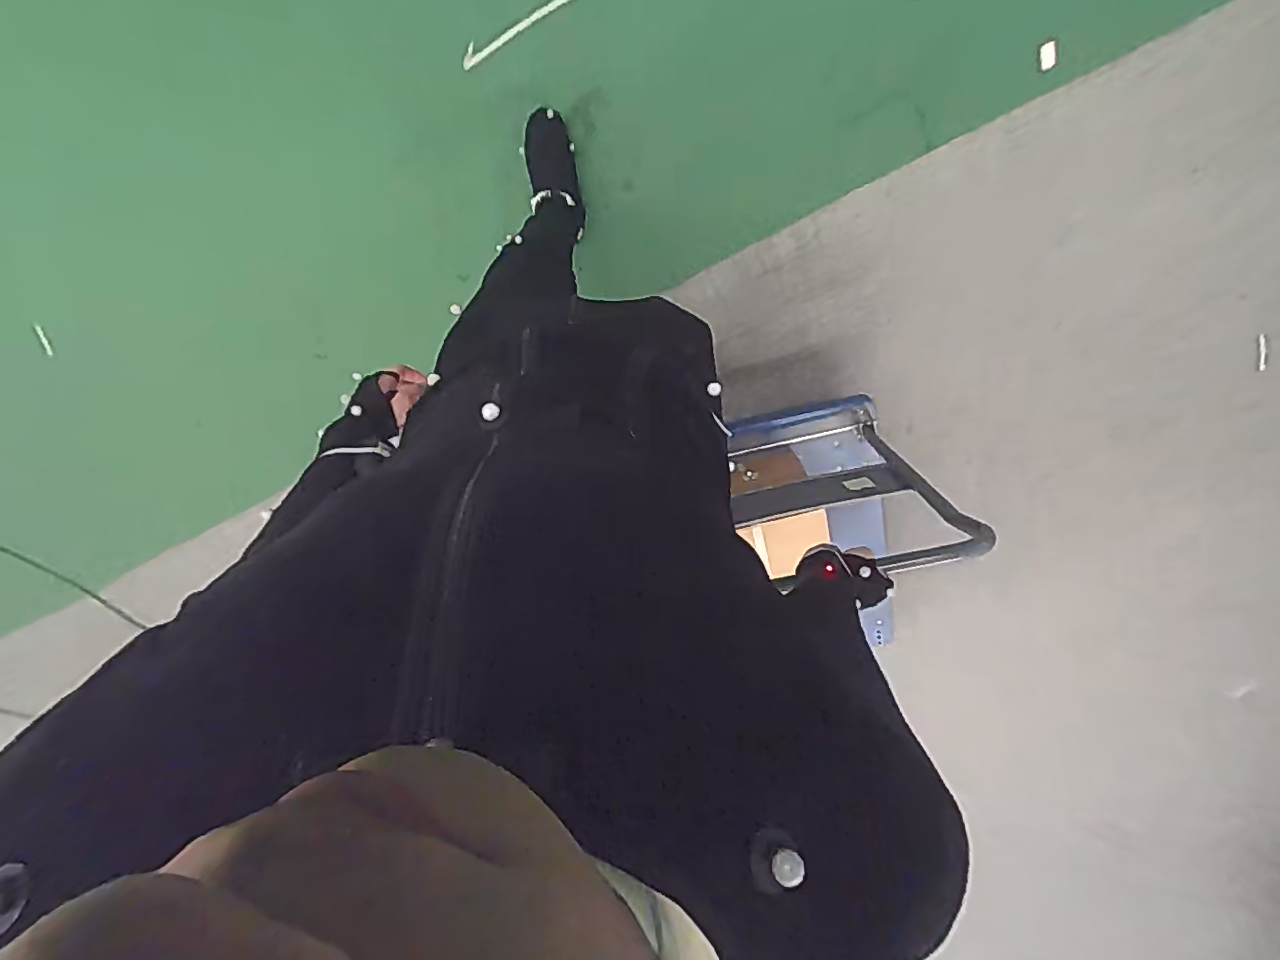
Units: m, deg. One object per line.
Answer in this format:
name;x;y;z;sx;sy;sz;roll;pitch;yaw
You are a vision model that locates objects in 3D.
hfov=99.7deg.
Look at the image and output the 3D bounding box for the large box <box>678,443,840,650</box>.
large box;0.306;0.171;1.434;0.320;0.320;0.408;-14;117;8
